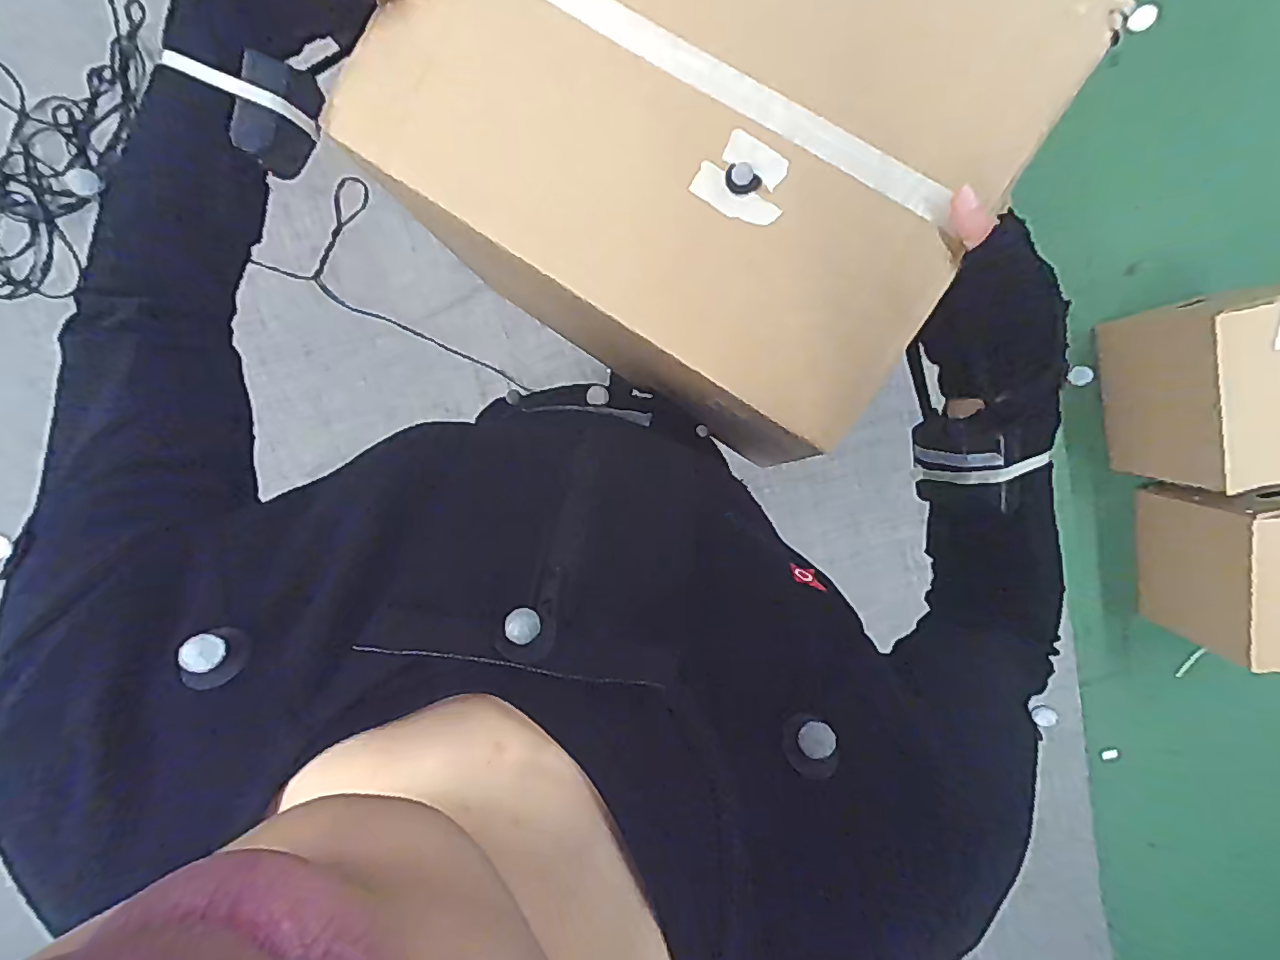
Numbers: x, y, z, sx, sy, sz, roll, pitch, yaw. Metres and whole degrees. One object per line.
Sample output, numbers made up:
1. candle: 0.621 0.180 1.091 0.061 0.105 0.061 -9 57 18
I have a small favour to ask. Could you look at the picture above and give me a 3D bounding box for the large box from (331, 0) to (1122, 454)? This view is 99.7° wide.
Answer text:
1. large box: 0.050 -0.260 0.486 0.408 0.320 0.320 34 94 4
